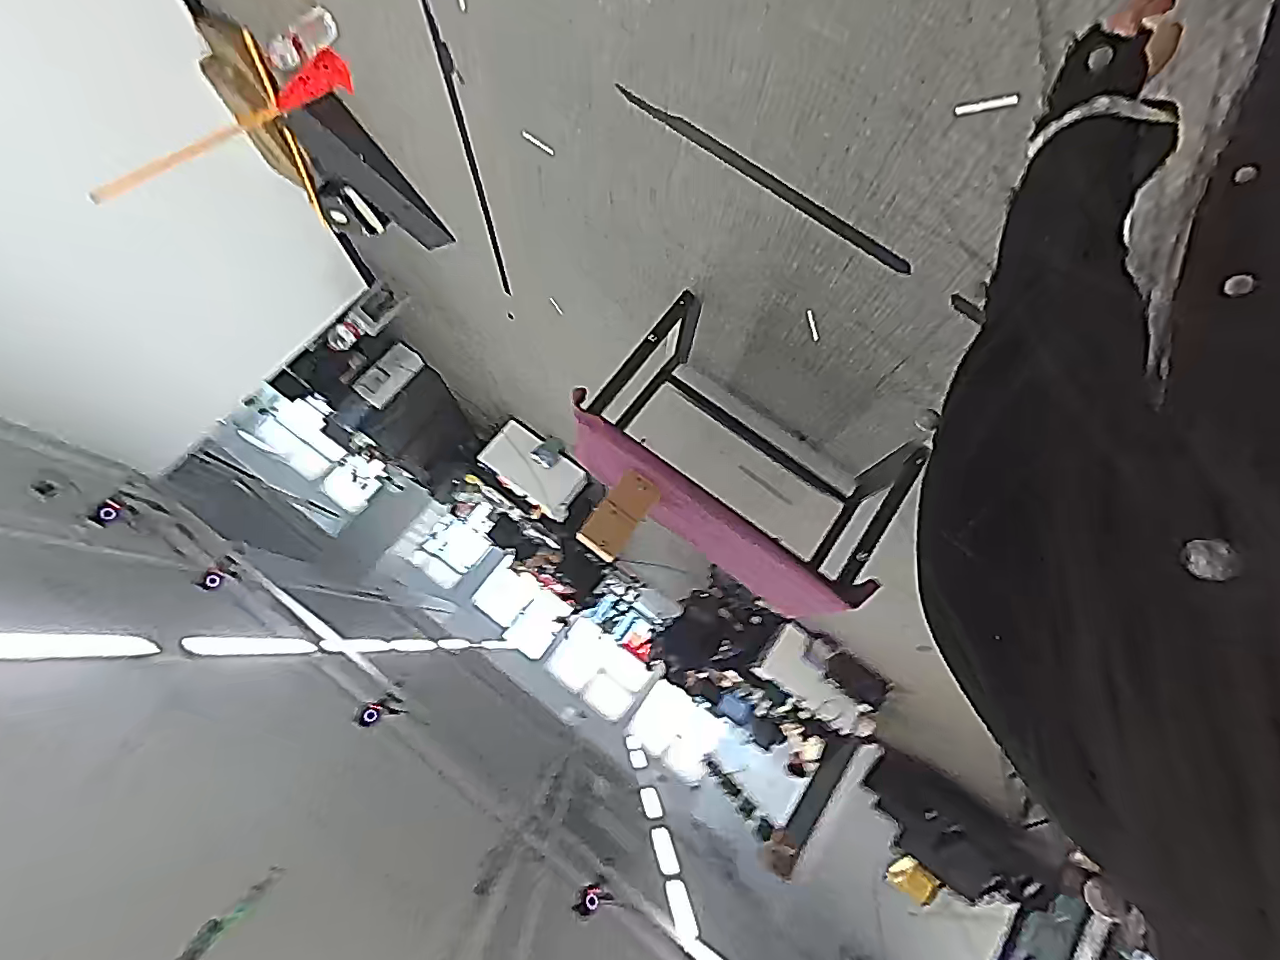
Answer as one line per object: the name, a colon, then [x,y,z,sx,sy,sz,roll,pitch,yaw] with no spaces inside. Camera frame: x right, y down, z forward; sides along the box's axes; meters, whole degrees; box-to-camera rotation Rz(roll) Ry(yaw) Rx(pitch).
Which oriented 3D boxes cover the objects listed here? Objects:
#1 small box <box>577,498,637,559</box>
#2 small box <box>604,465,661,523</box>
small box: [-0.130,0.191,2.119,0.168,0.176,0.179,37,165,1]
small box: [-0.032,0.068,2.168,0.168,0.176,0.179,37,164,3]
